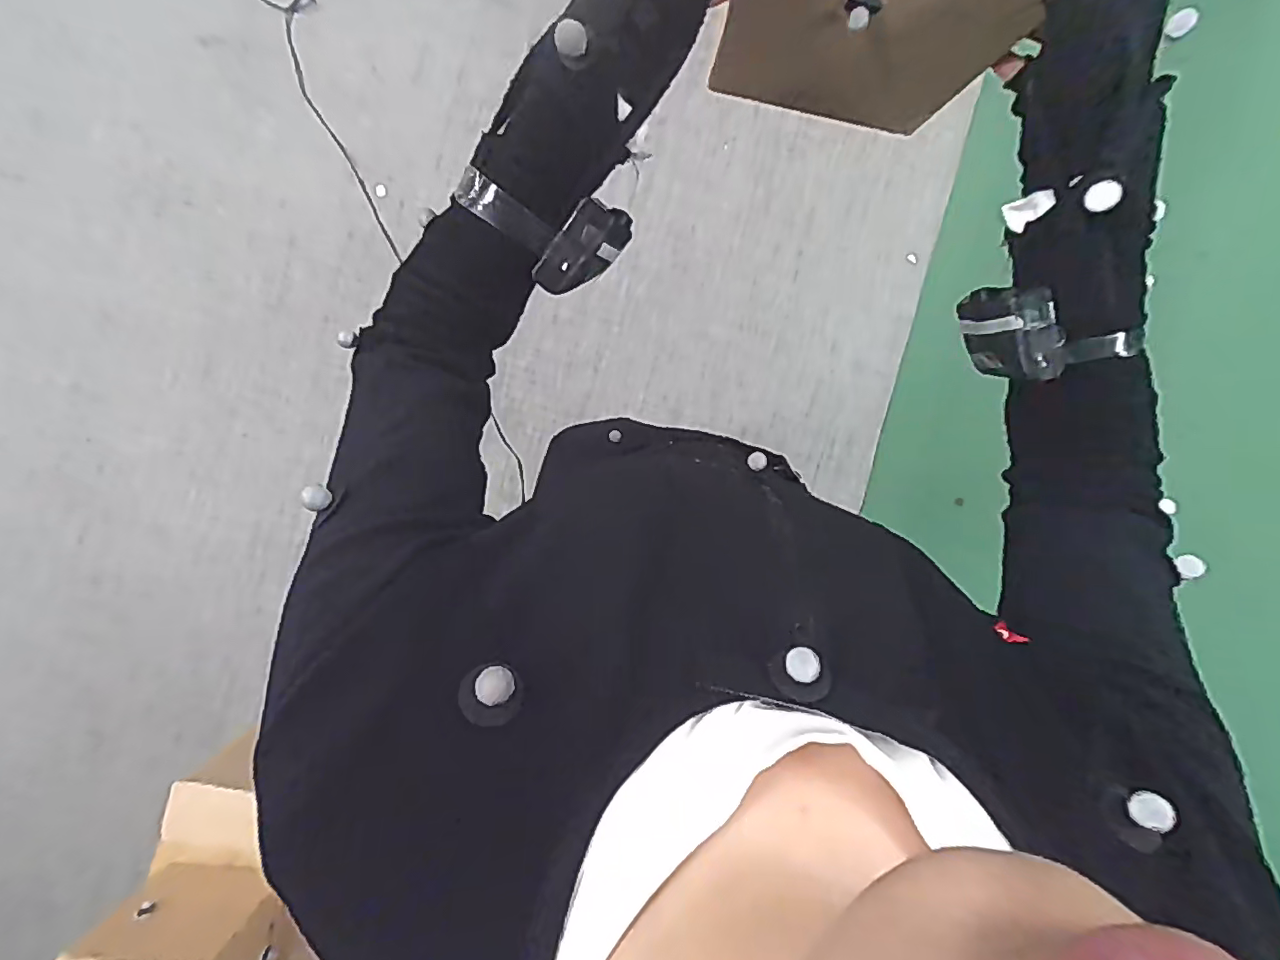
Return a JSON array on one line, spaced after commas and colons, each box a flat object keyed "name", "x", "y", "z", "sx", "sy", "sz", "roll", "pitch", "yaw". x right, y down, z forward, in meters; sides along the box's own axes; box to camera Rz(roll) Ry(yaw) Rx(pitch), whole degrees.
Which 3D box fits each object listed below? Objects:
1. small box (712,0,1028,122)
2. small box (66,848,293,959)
[{"name": "small box", "x": 0.154, "y": -0.369, "z": 0.349, "sx": 0.179, "sy": 0.176, "sz": 0.168, "roll": 10, "pitch": 99, "yaw": -4}, {"name": "small box", "x": -0.616, "y": 0.635, "z": 0.733, "sx": 0.179, "sy": 0.176, "sz": 0.168, "roll": 6, "pitch": 89, "yaw": -4}]
